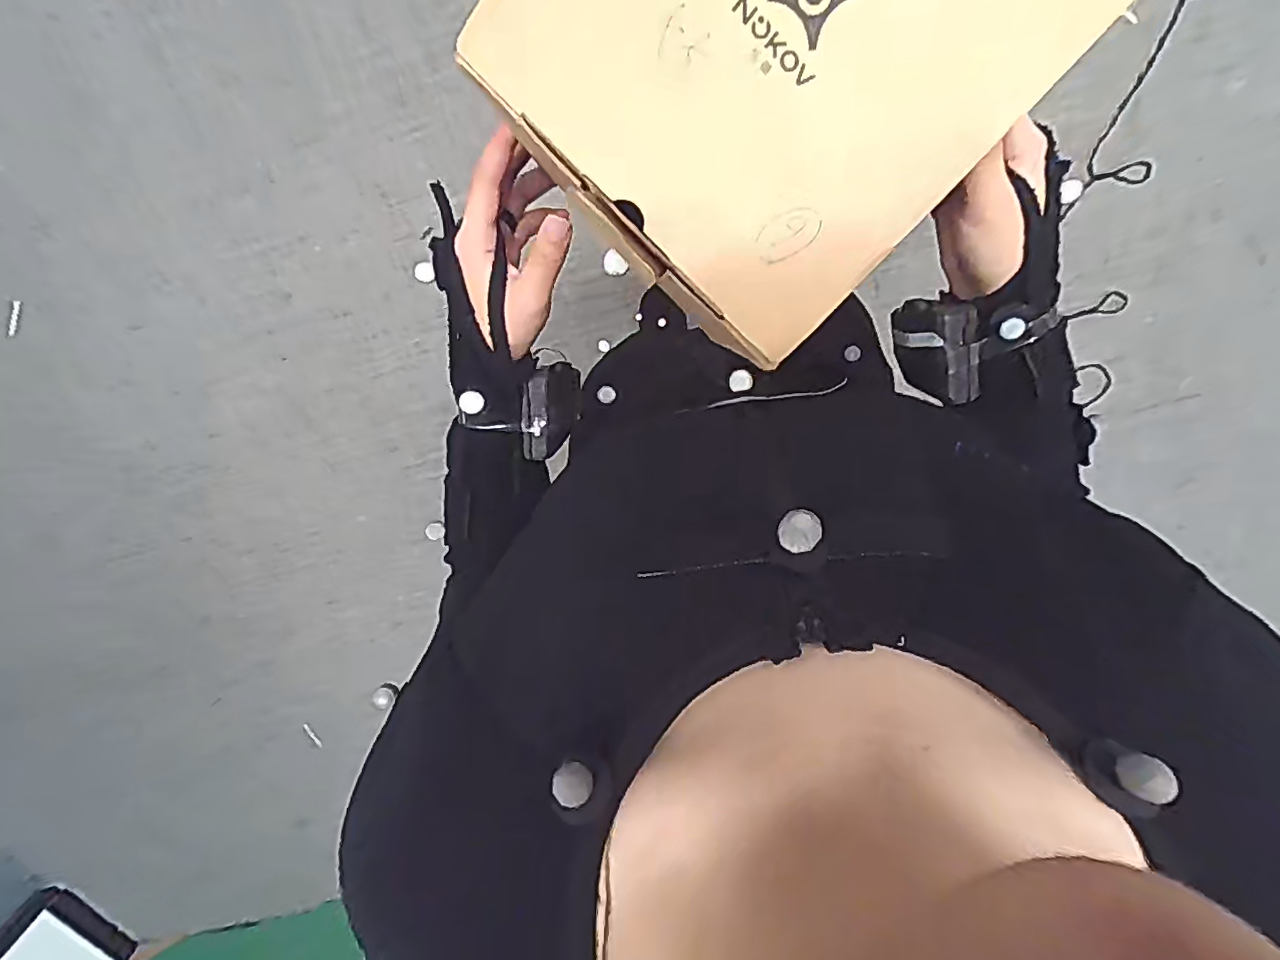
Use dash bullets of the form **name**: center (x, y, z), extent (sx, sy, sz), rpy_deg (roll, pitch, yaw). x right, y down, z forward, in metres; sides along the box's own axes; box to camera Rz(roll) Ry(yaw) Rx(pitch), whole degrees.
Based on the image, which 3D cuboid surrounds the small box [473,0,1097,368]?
- **small box**: center (0.053, -0.183, 0.278), extent (0.168, 0.176, 0.179), rpy_deg (41, 104, -11)
